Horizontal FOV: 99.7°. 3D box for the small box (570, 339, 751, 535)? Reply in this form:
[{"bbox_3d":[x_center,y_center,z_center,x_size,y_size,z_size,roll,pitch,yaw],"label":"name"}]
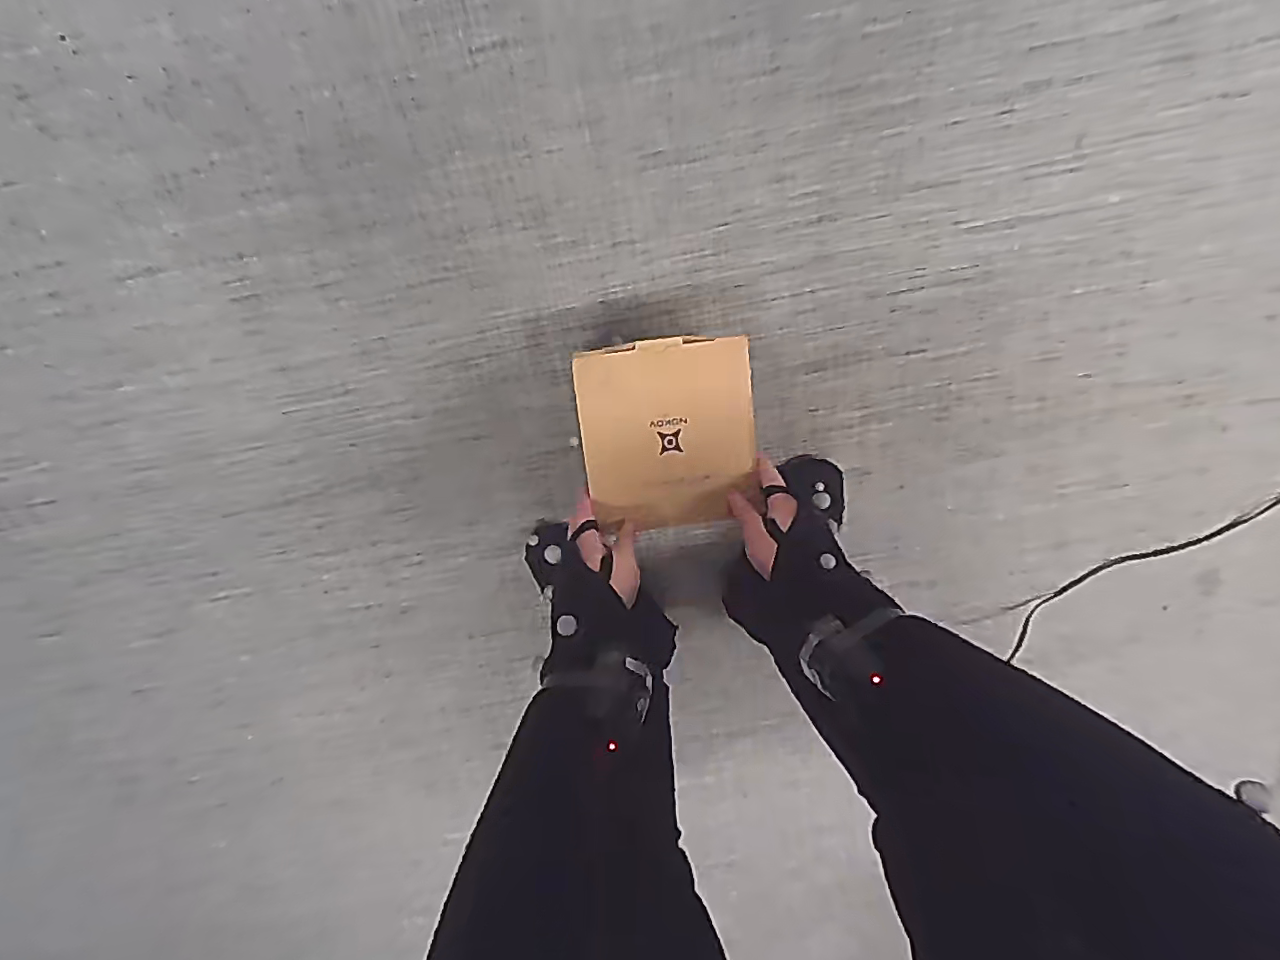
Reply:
[{"bbox_3d":[0.017,-0.054,0.601,0.168,0.176,0.179,-7,102,-1],"label":"small box"}]
